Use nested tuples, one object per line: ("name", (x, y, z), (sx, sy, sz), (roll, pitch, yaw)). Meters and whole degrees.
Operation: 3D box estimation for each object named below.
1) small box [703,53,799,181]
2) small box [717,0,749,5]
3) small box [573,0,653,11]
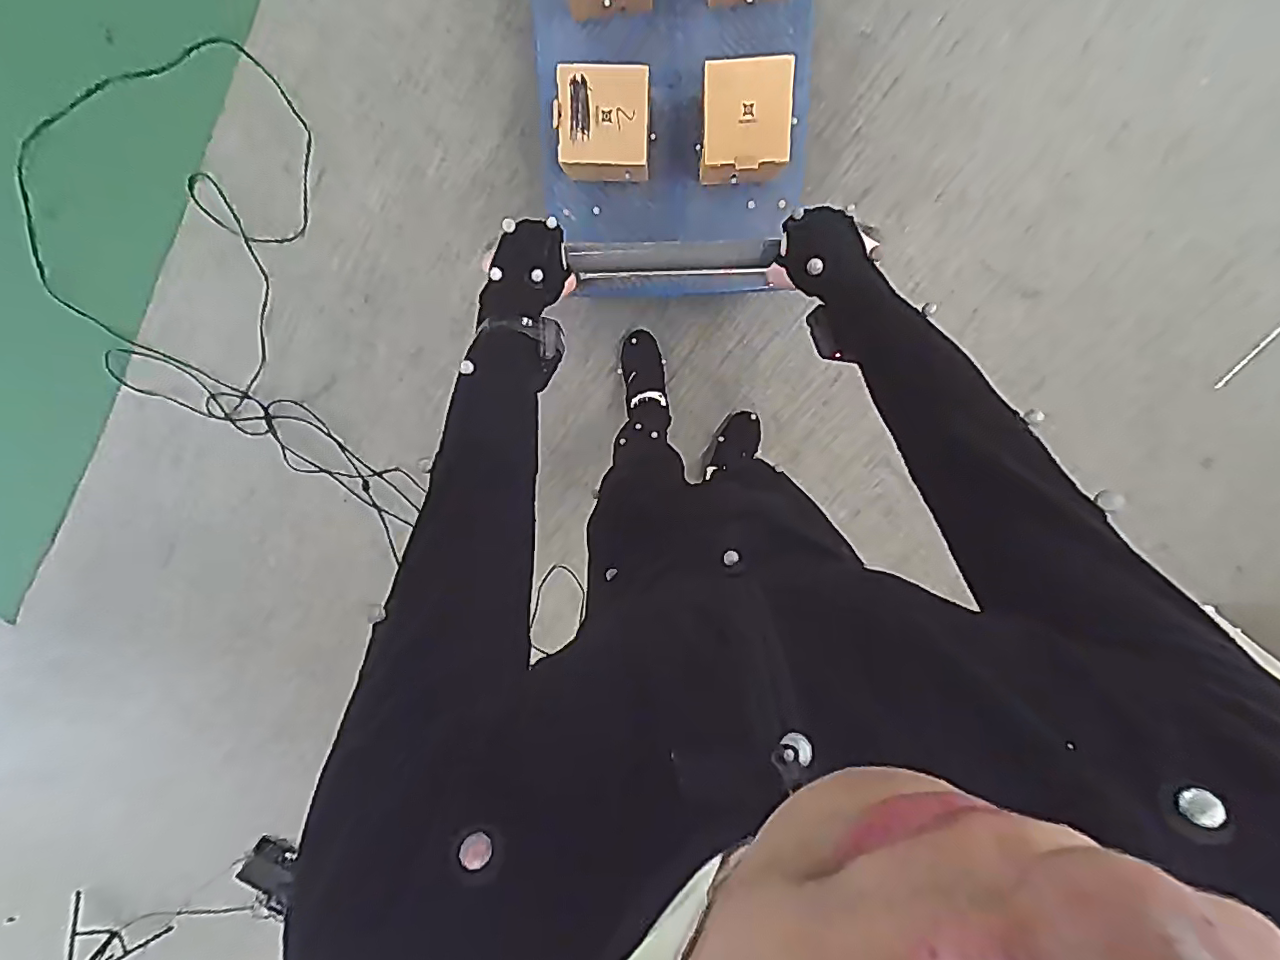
("small box", (0.215, -0.721, 1.091), (0.168, 0.176, 0.179), (-1, 109, 3))
("small box", (0.214, -1.022, 0.985), (0.168, 0.176, 0.179), (-4, 110, 5))
("small box", (-0.061, -1.011, 1.002), (0.168, 0.176, 0.179), (-5, 109, 4))
